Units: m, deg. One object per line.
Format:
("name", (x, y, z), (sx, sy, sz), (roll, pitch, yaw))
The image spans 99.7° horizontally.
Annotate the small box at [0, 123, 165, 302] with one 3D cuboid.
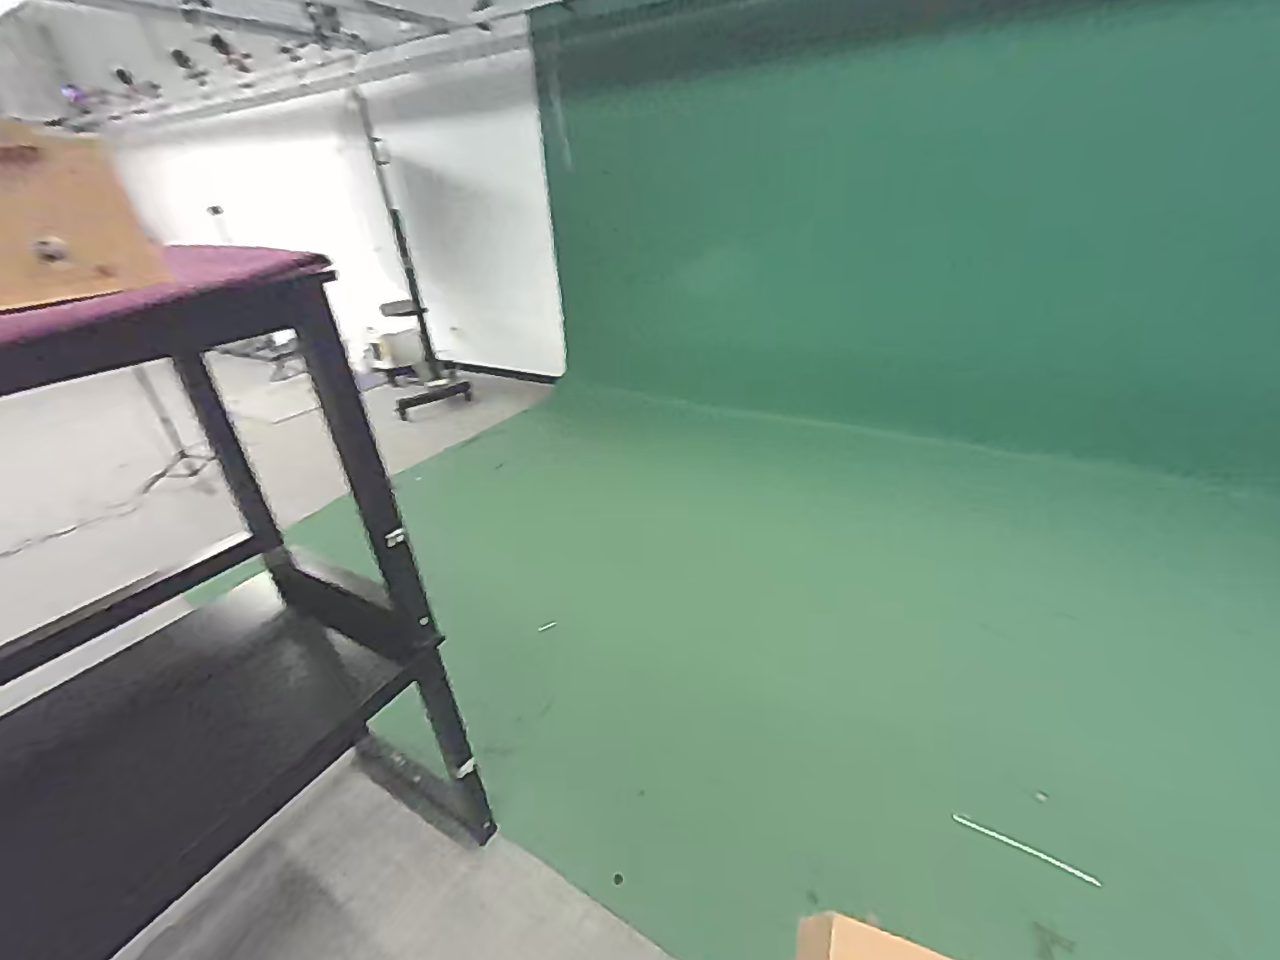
("small box", (-0.721, -0.310, 0.638), (0.179, 0.176, 0.168), (14, 35, 32))
